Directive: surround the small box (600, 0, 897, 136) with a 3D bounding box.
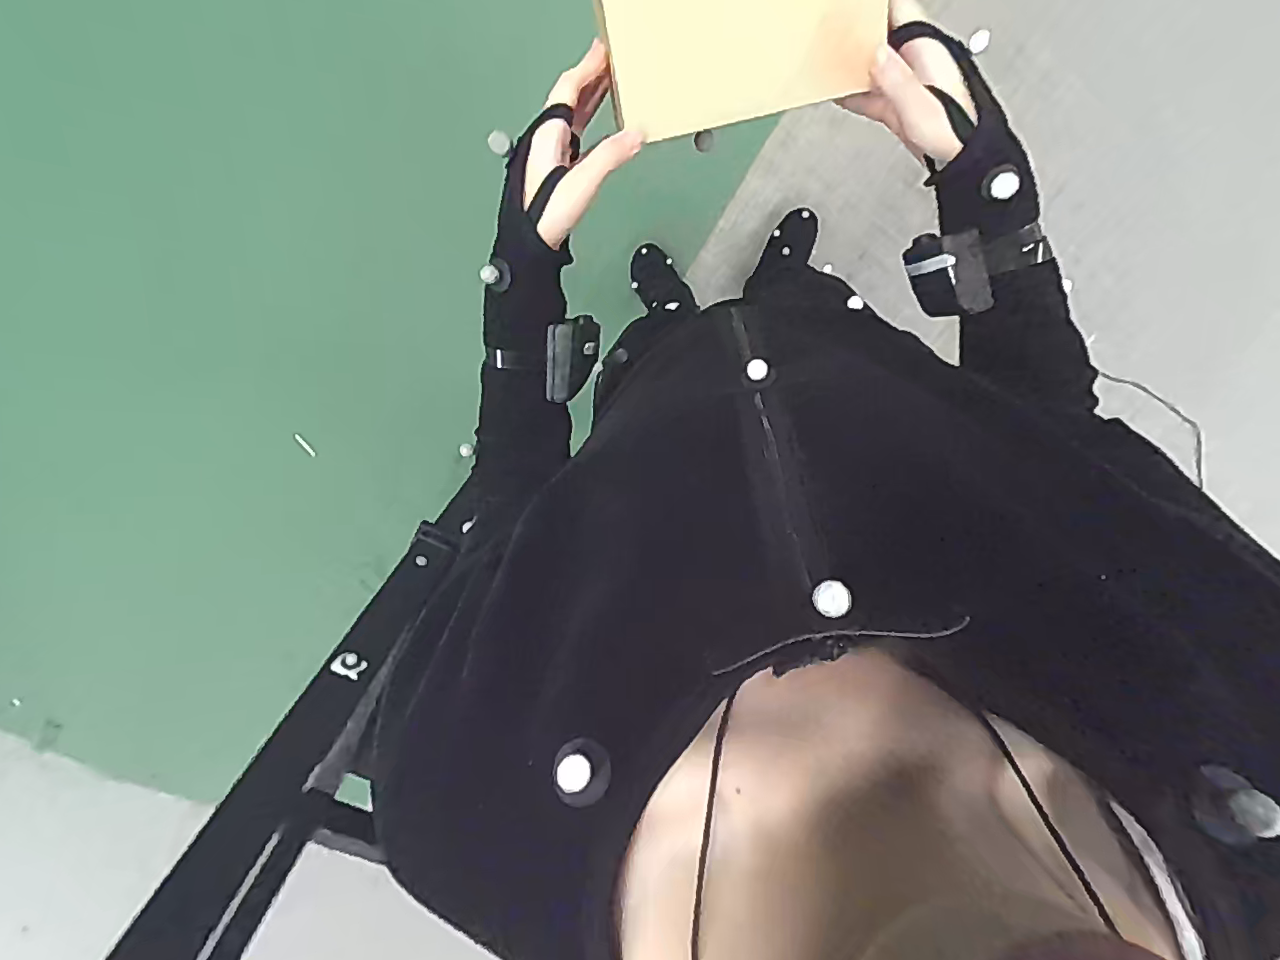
[{"bbox_3d":[0.055,-0.345,0.356,0.168,0.176,0.179,-11,122,3],"label":"small box"}]
